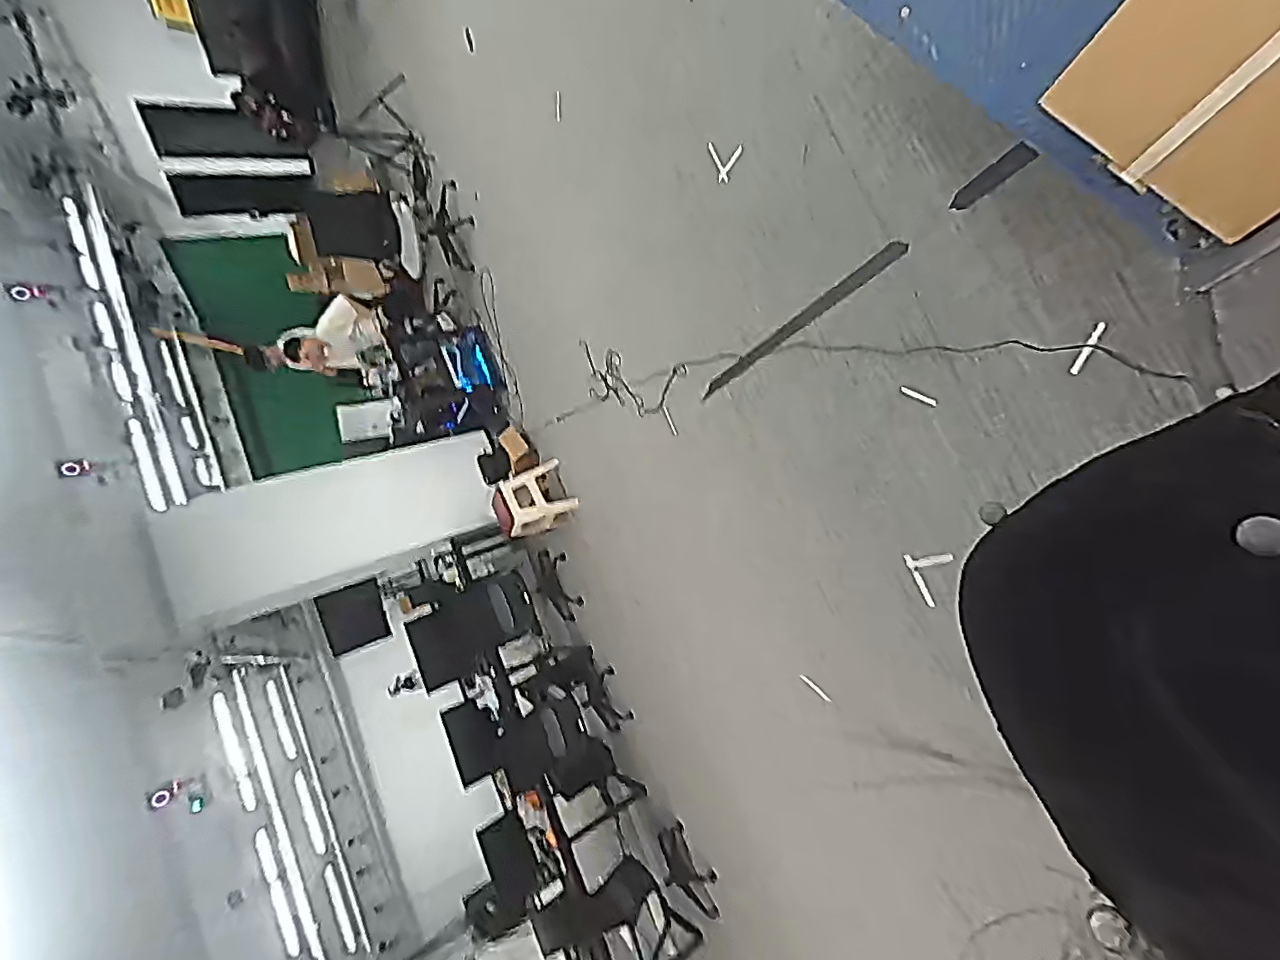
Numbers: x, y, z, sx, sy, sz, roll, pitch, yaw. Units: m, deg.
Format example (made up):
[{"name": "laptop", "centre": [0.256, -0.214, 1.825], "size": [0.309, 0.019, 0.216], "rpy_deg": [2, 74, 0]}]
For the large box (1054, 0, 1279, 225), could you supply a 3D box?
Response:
[{"name": "large box", "centre": [0.820, -0.603, 0.642], "size": [0.320, 0.320, 0.408], "rpy_deg": [43, 144, 8]}]
